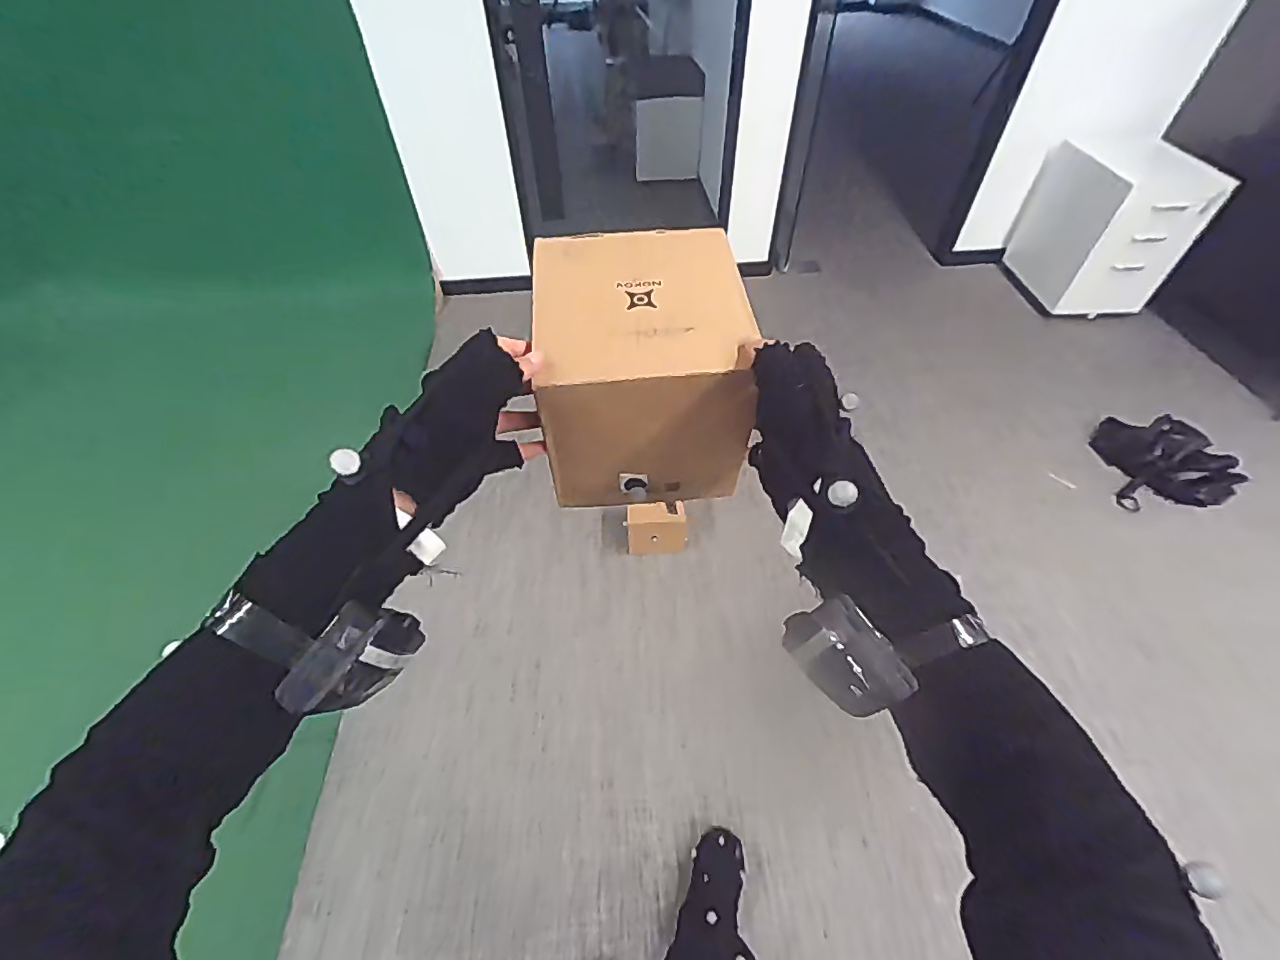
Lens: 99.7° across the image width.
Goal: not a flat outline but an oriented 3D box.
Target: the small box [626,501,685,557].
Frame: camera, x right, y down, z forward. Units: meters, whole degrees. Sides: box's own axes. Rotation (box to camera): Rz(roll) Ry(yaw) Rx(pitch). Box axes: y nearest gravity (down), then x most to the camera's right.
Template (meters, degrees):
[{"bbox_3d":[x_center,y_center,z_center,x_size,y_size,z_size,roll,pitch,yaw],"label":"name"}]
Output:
[{"bbox_3d":[0.046,0.132,1.712,0.179,0.176,0.168,-3,48,0],"label":"small box"}]

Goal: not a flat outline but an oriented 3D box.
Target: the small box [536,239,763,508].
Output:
[{"bbox_3d":[-0.001,-0.095,0.496,0.168,0.176,0.179,-5,55,-4],"label":"small box"}]
